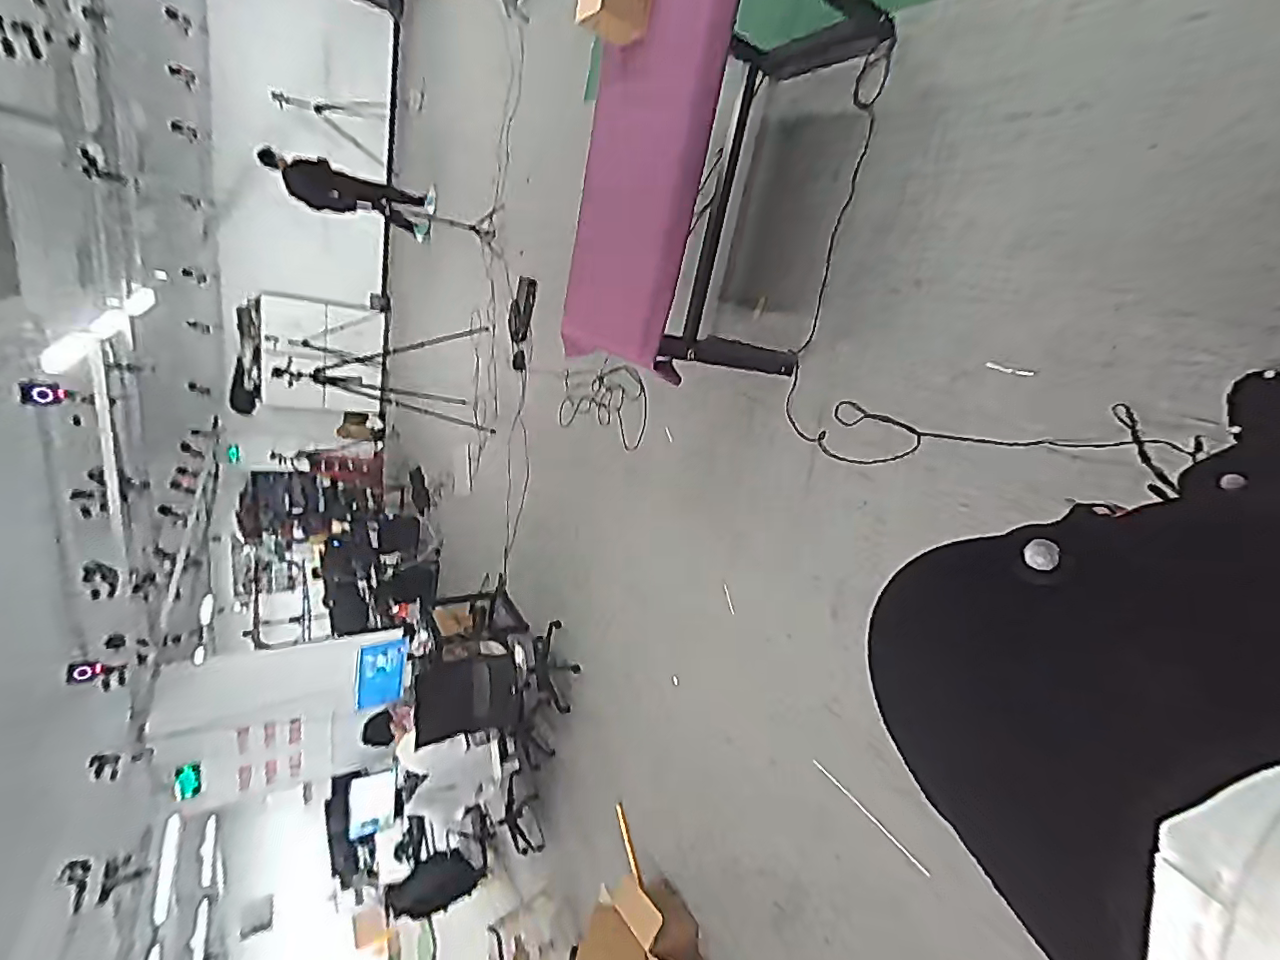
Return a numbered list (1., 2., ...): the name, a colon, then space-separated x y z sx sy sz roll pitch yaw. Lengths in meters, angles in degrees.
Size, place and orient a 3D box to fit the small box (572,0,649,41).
1. small box: -0.084 -1.475 1.641 0.179 0.176 0.168 36 122 49
